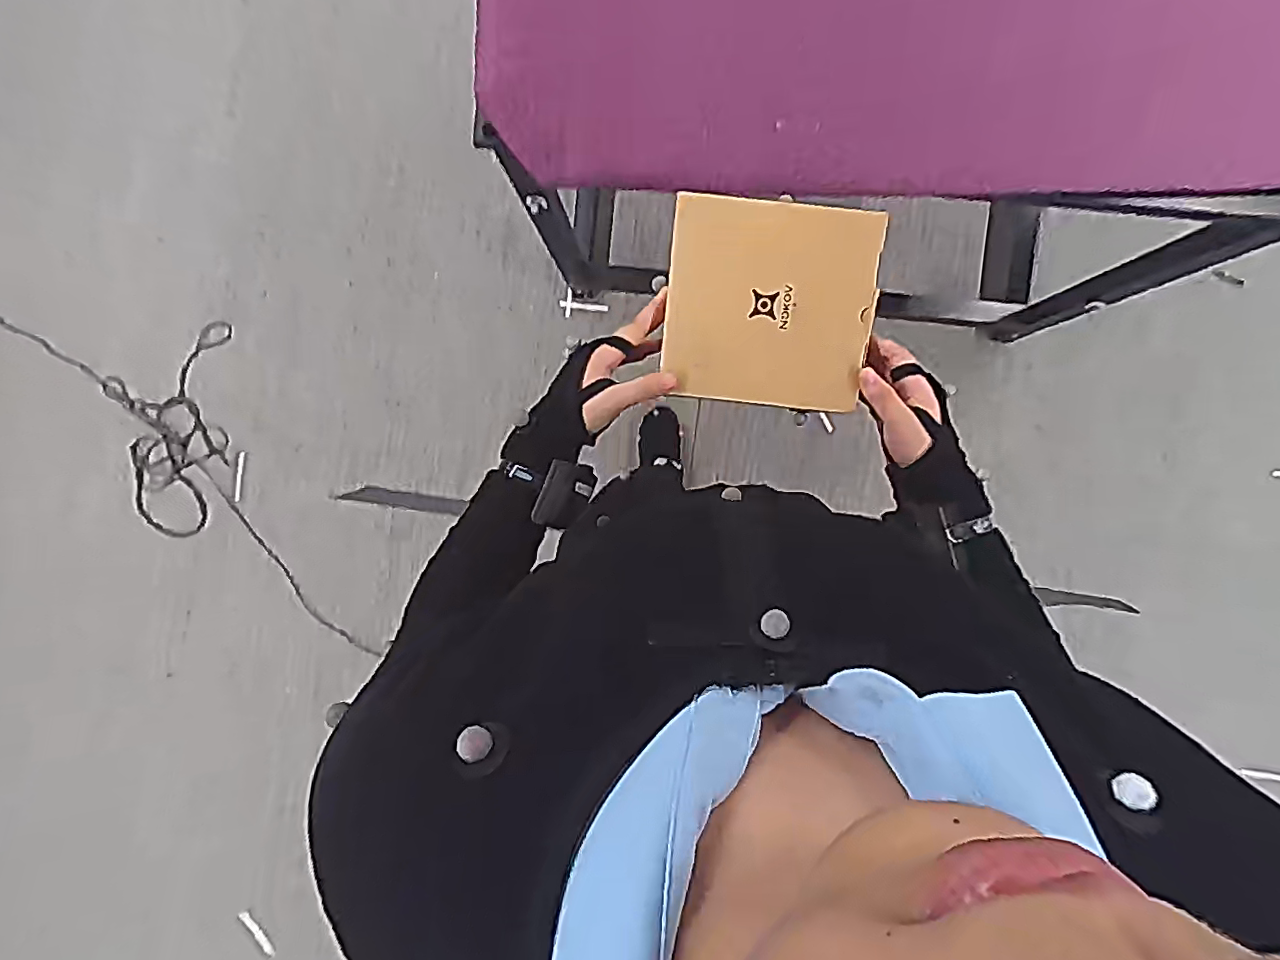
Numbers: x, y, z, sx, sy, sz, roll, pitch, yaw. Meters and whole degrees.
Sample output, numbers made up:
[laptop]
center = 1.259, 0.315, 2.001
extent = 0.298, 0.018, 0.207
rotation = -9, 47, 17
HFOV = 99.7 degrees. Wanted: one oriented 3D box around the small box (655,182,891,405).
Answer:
[small box]
center = 0.110, -0.164, 0.526
extent = 0.179, 0.176, 0.168
rotation = 6, 100, 0
